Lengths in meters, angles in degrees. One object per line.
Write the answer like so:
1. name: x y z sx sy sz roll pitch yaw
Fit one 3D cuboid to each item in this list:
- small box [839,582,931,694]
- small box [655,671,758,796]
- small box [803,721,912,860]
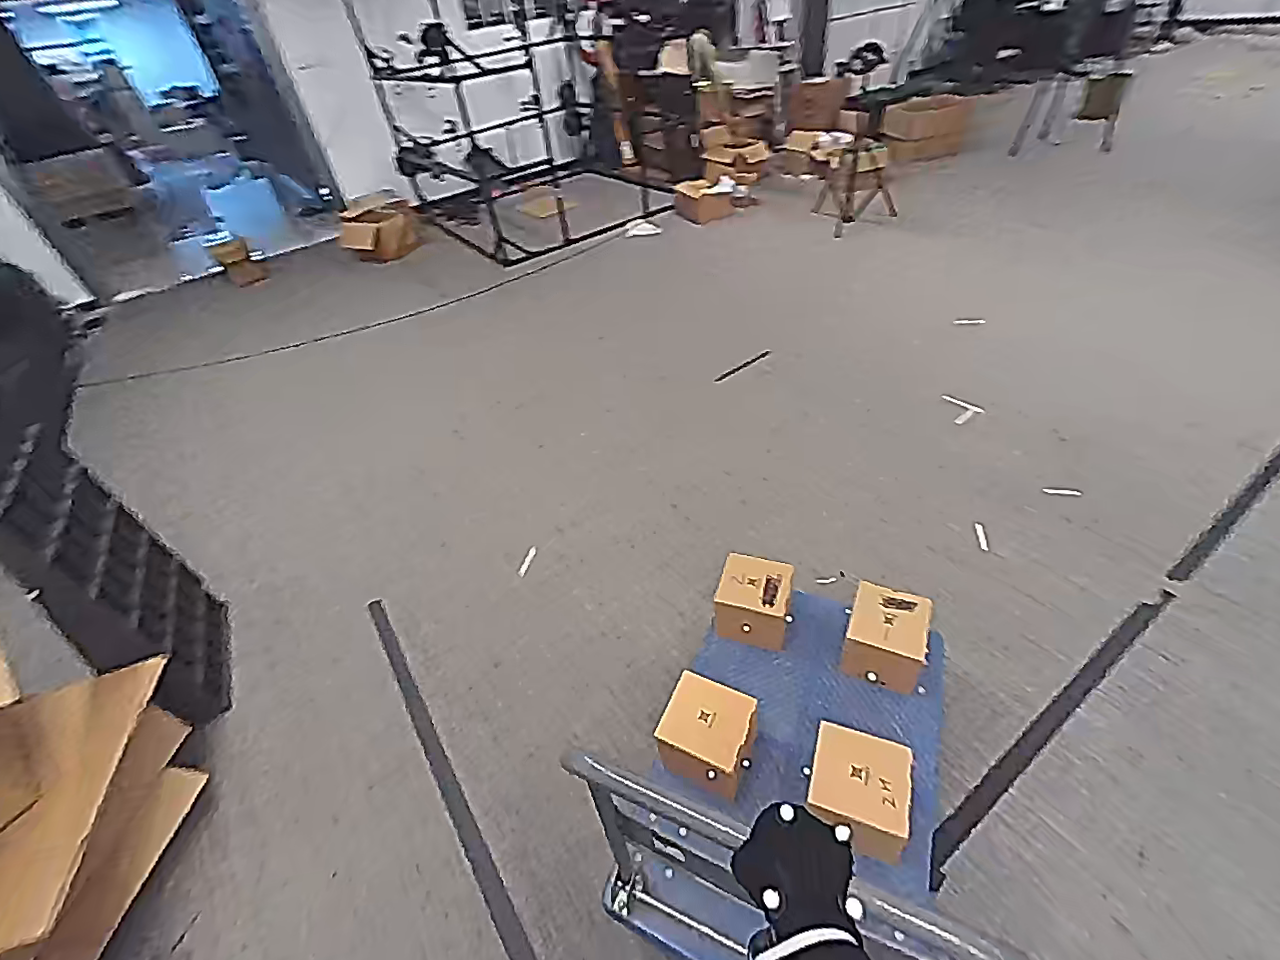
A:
1. small box: 0.595 0.385 1.321 0.168 0.176 0.179 14 47 24
2. small box: 0.151 0.564 1.200 0.179 0.176 0.168 15 46 23
3. small box: 0.431 0.623 1.083 0.179 0.176 0.168 11 45 21
